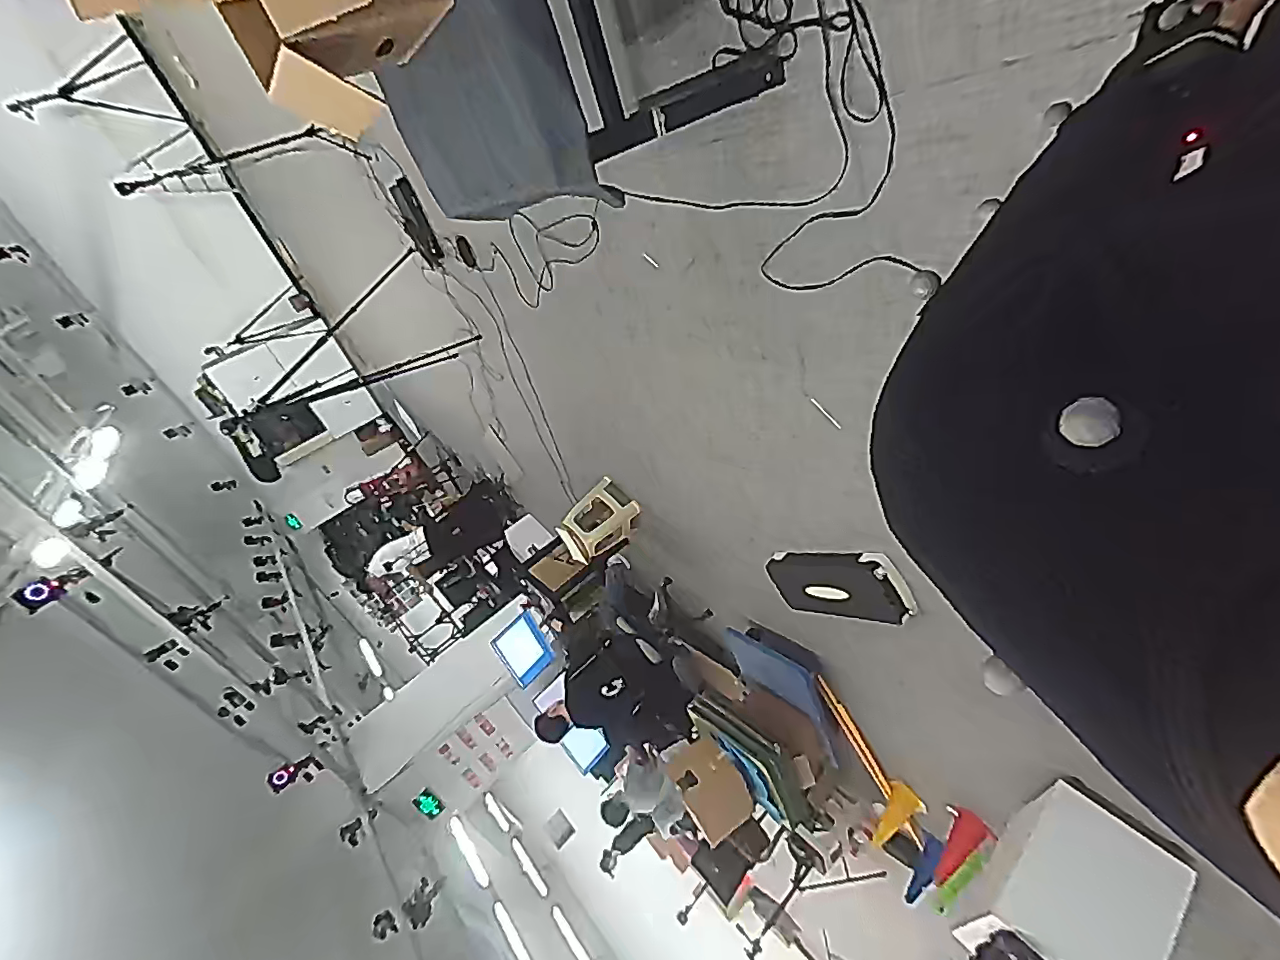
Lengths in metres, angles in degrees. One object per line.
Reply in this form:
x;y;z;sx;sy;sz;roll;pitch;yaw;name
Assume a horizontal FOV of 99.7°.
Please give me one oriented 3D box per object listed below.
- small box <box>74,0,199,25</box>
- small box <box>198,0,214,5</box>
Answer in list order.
-0.782;-0.806;0.785;0.179;0.176;0.168;25;143;48;small box
-0.658;-0.894;0.844;0.168;0.176;0.179;23;142;49;small box
